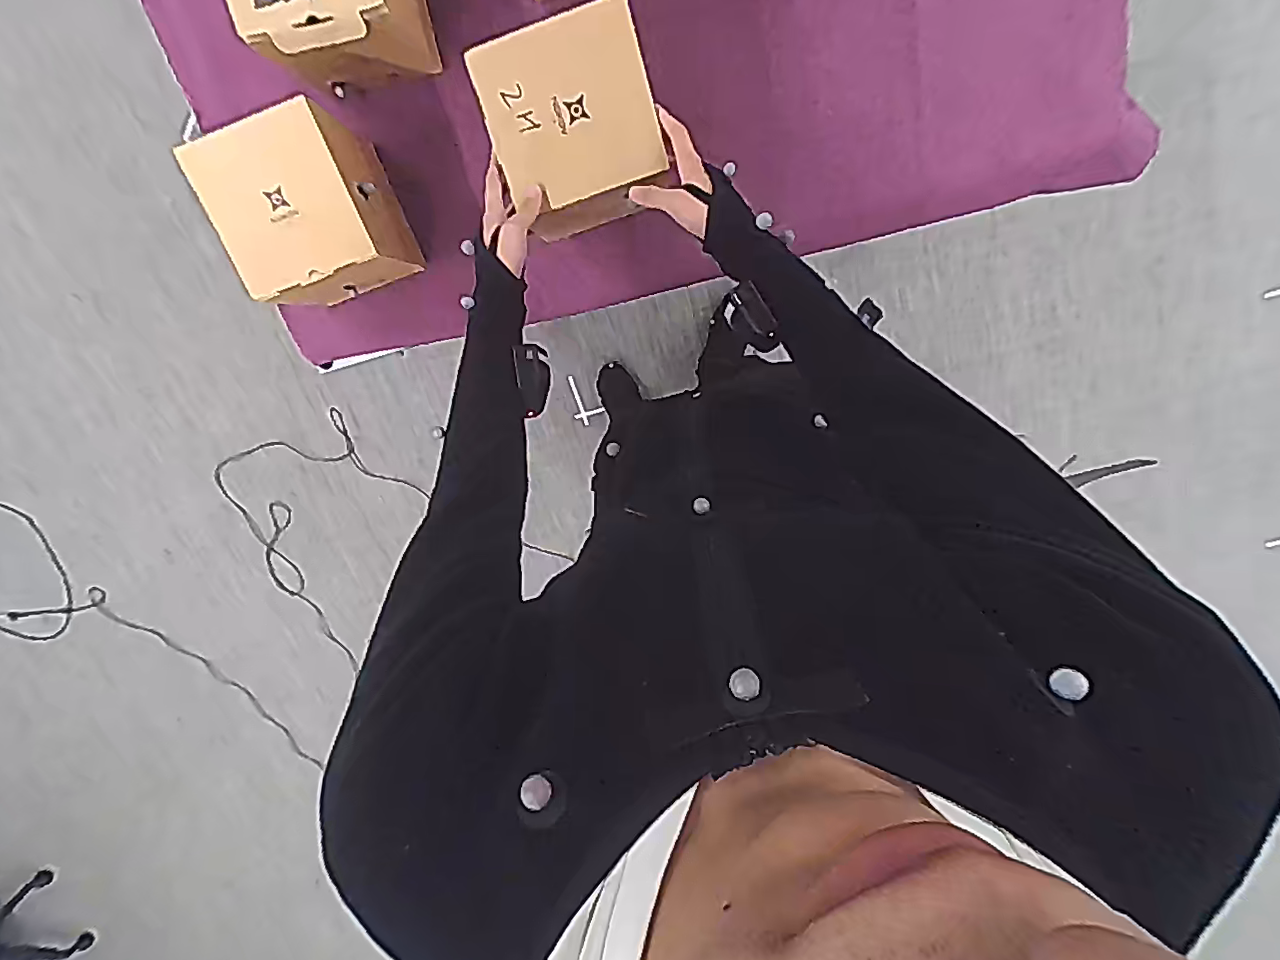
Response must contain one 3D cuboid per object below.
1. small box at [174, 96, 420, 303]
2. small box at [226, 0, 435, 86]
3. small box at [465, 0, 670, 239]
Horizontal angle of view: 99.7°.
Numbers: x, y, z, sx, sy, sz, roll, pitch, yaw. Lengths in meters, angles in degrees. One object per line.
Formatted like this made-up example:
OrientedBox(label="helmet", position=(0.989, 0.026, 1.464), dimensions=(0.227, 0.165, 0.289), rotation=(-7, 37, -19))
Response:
OrientedBox(label="small box", position=(-0.416, -0.338, 0.692), dimensions=(0.168, 0.176, 0.179), rotation=(-20, 108, 4))
OrientedBox(label="small box", position=(-0.357, -0.582, 0.615), dimensions=(0.168, 0.176, 0.179), rotation=(-10, 108, 2))
OrientedBox(label="small box", position=(-0.071, -0.399, 0.631), dimensions=(0.179, 0.176, 0.168), rotation=(-15, 105, 6))
